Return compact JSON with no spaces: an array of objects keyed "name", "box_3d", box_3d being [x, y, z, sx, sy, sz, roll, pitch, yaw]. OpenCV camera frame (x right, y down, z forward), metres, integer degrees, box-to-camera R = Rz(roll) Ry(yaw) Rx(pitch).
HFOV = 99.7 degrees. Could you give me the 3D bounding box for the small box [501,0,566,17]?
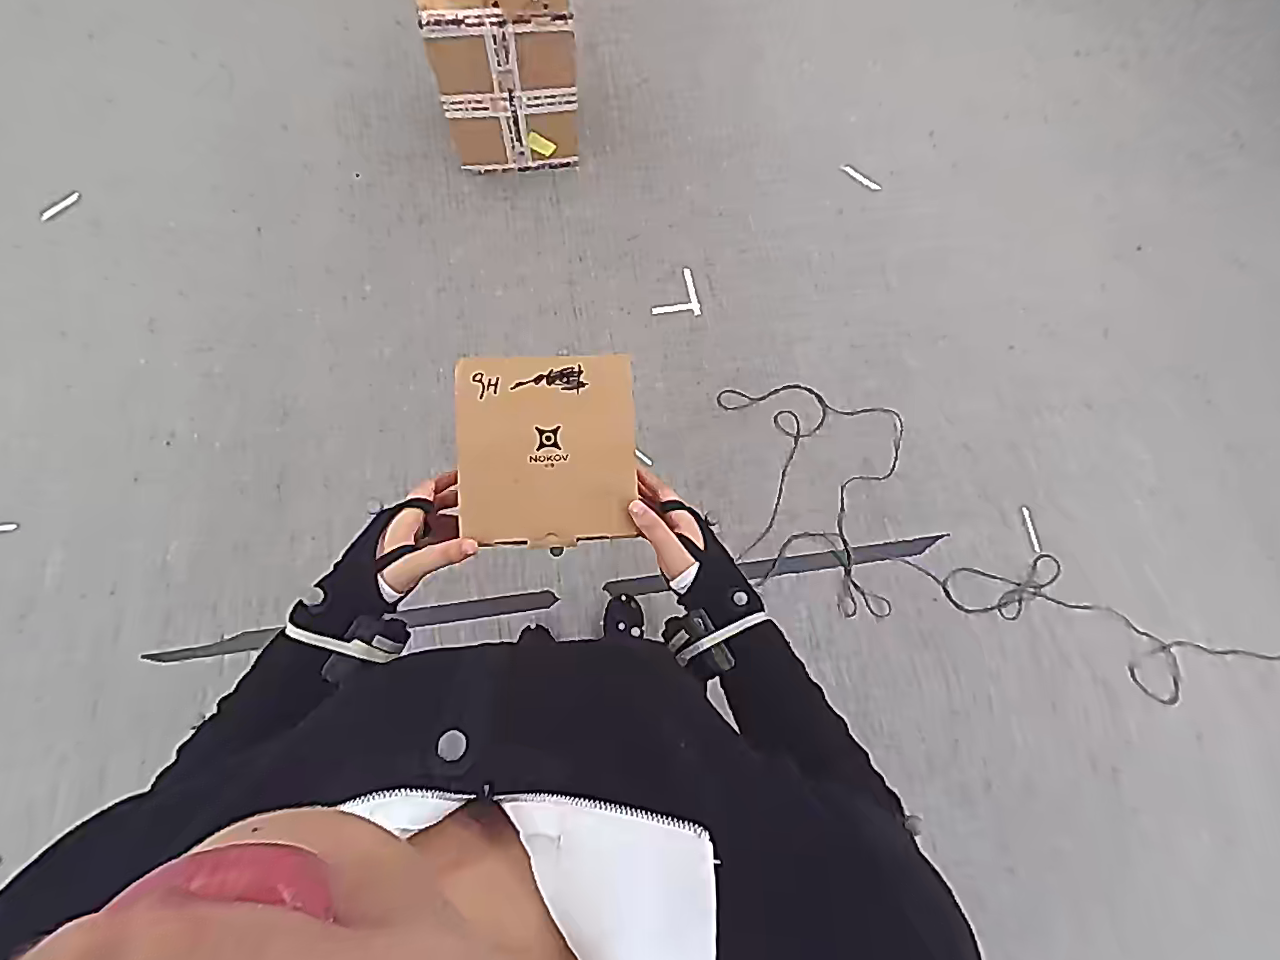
[{"name":"small box","box_3d":[-0.273,-1.287,1.321,0.168,0.176,0.179,-7,79,-7]}]
